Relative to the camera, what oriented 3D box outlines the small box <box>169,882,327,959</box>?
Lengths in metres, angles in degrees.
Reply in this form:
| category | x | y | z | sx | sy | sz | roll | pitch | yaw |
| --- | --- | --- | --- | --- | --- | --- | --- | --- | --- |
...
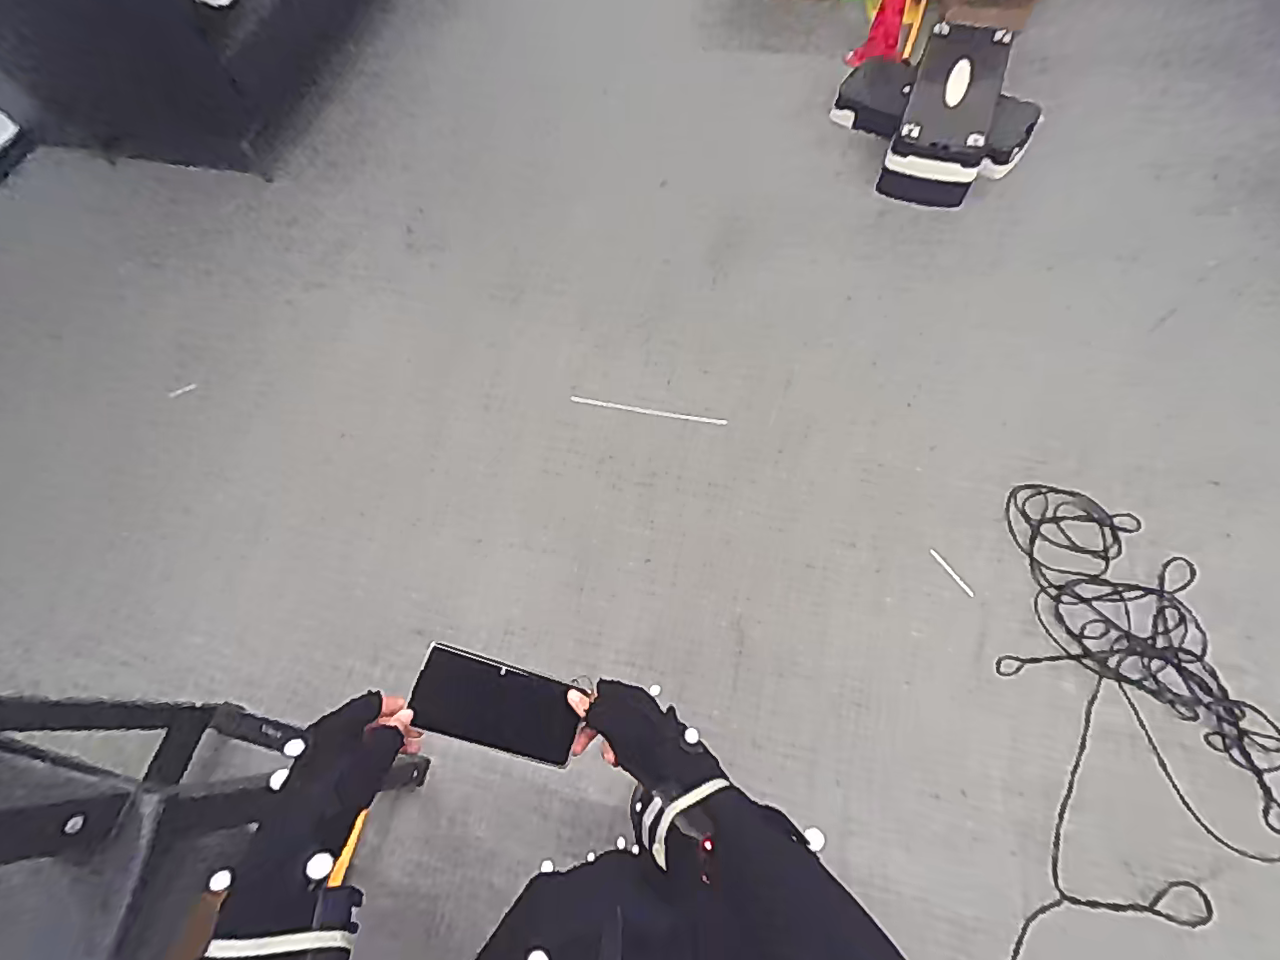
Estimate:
| category | x | y | z | sx | sy | sz | roll | pitch | yaw |
| --- | --- | --- | --- | --- | --- | --- | --- | --- | --- |
| small box | -0.726 | 0.878 | 0.994 | 0.179 | 0.176 | 0.168 | 14 | 67 | 11 |
